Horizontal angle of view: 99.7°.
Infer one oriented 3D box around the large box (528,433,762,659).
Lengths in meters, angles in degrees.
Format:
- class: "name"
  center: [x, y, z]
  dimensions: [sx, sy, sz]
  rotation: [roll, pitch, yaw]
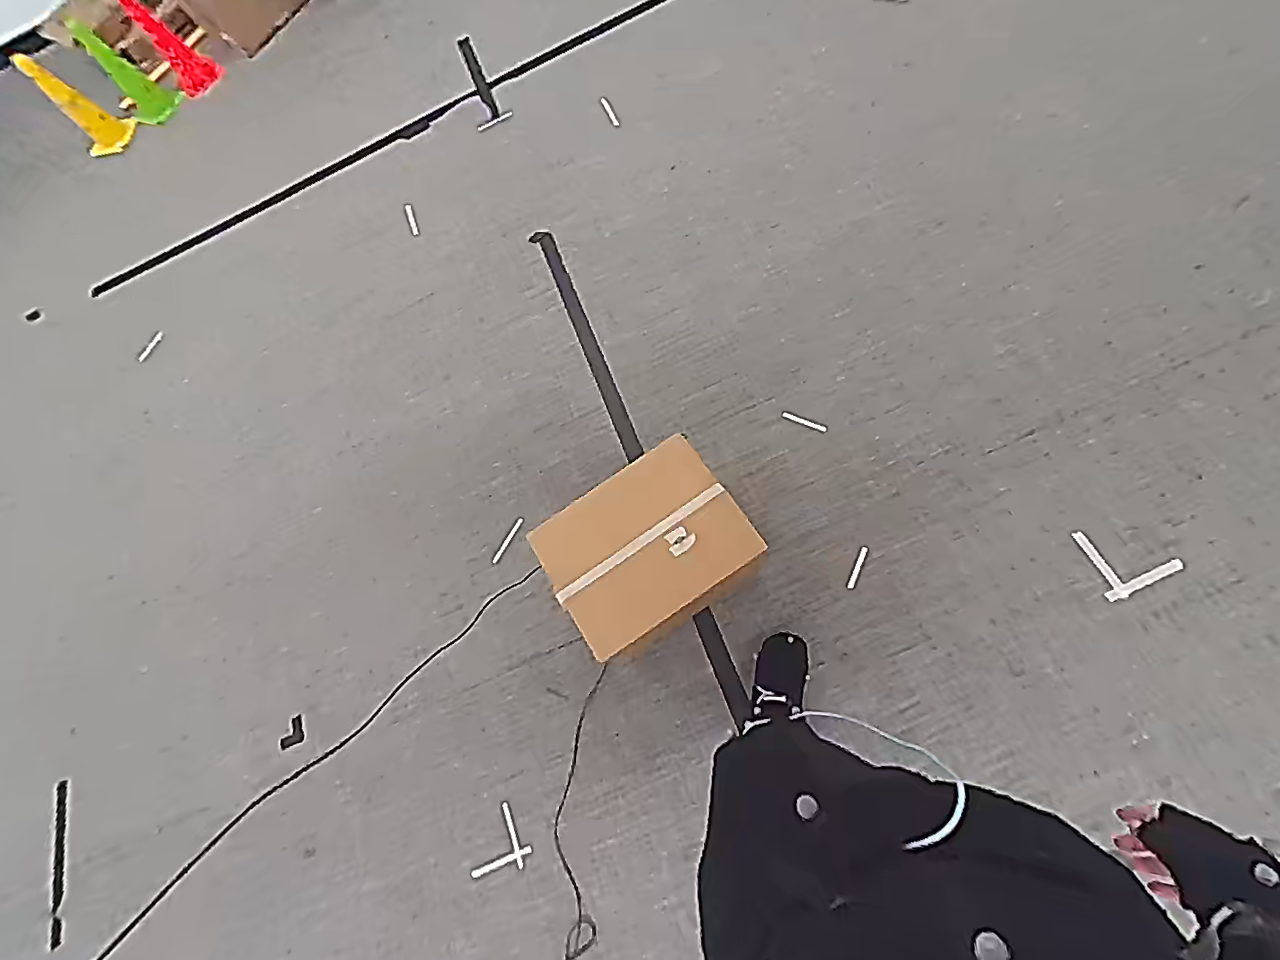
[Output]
- class: "large box"
  center: [0.024, 0.170, 1.249]
  dimensions: [0.408, 0.320, 0.320]
  rotation: [-34, 71, -2]
